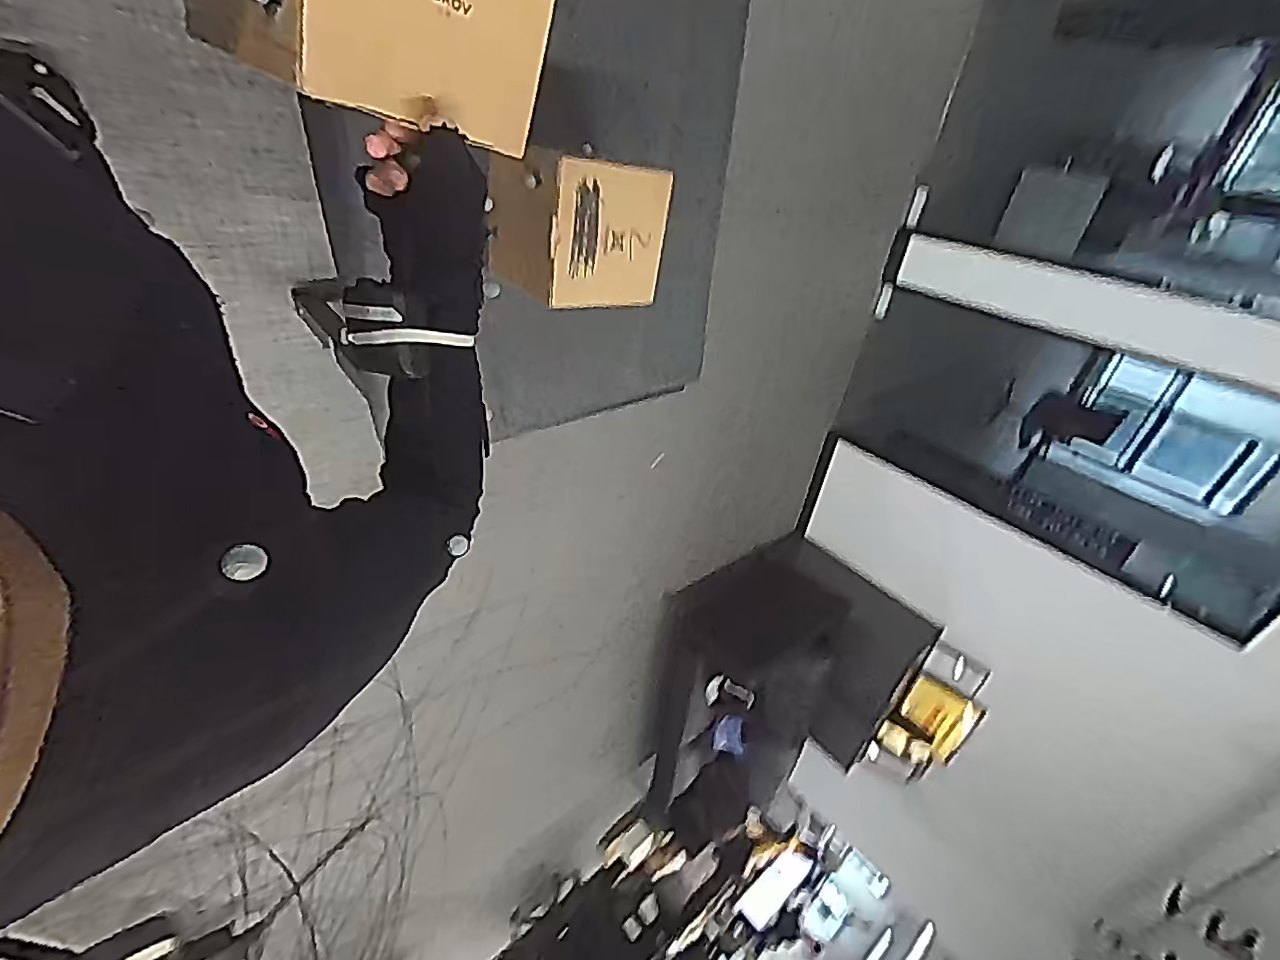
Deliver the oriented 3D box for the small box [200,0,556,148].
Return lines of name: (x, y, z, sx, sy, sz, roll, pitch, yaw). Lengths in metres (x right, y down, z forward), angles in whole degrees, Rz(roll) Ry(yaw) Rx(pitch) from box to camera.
small box: (-0.172, -0.357, 0.357, 0.168, 0.176, 0.179, -22, 141, -50)
